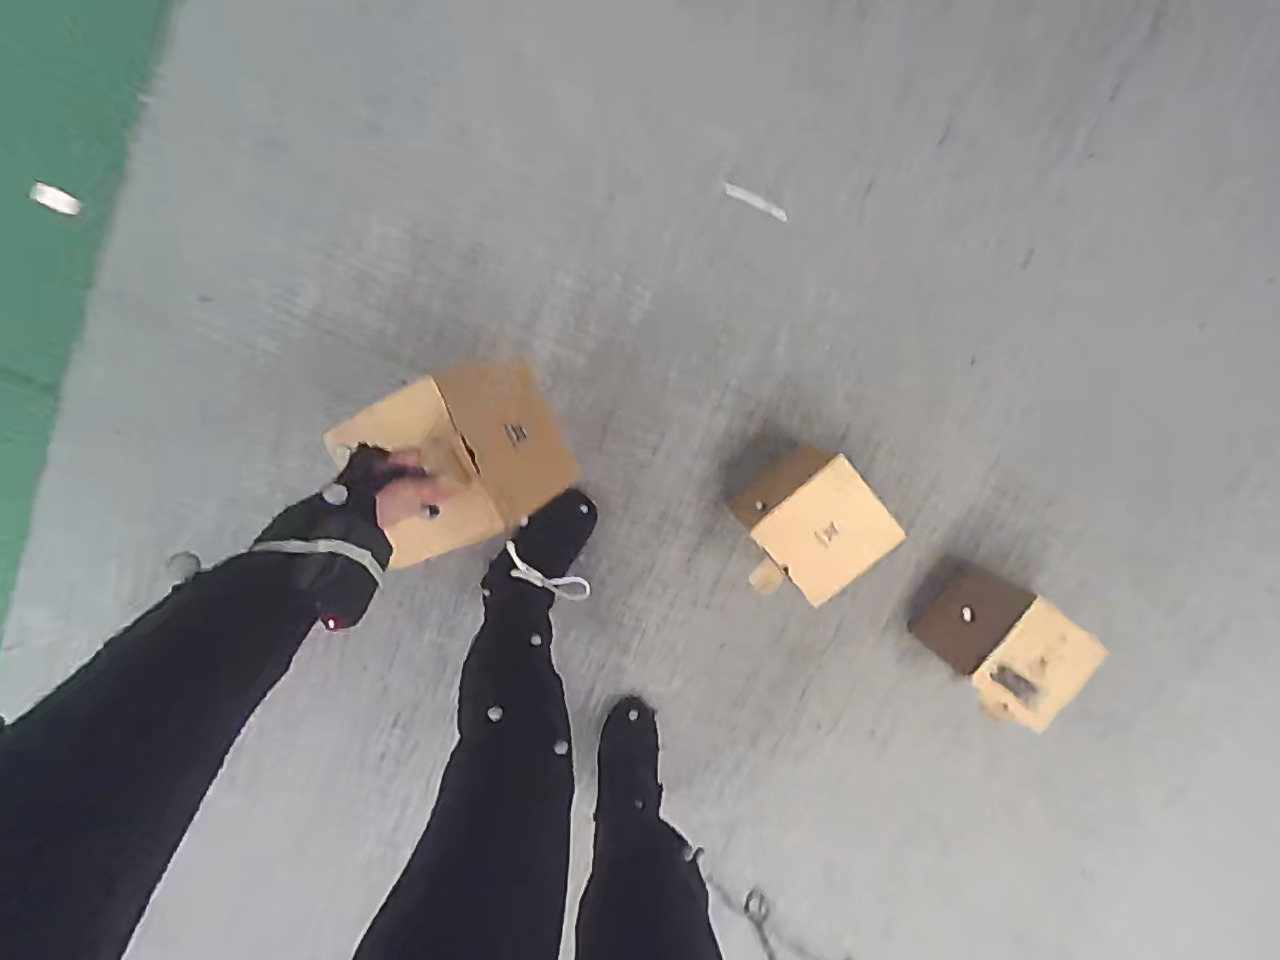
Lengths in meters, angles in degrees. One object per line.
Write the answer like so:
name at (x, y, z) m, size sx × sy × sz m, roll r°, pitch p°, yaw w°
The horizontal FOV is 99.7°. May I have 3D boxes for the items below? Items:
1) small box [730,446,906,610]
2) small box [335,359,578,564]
small box at (0.269, 0.065, 0.860) m, size 0.179 × 0.176 × 0.168 m, roll -41°, pitch 101°, yaw 5°
small box at (-0.204, -0.022, 0.608) m, size 0.176 × 0.179 × 0.168 m, roll -16°, pitch 101°, yaw 26°
